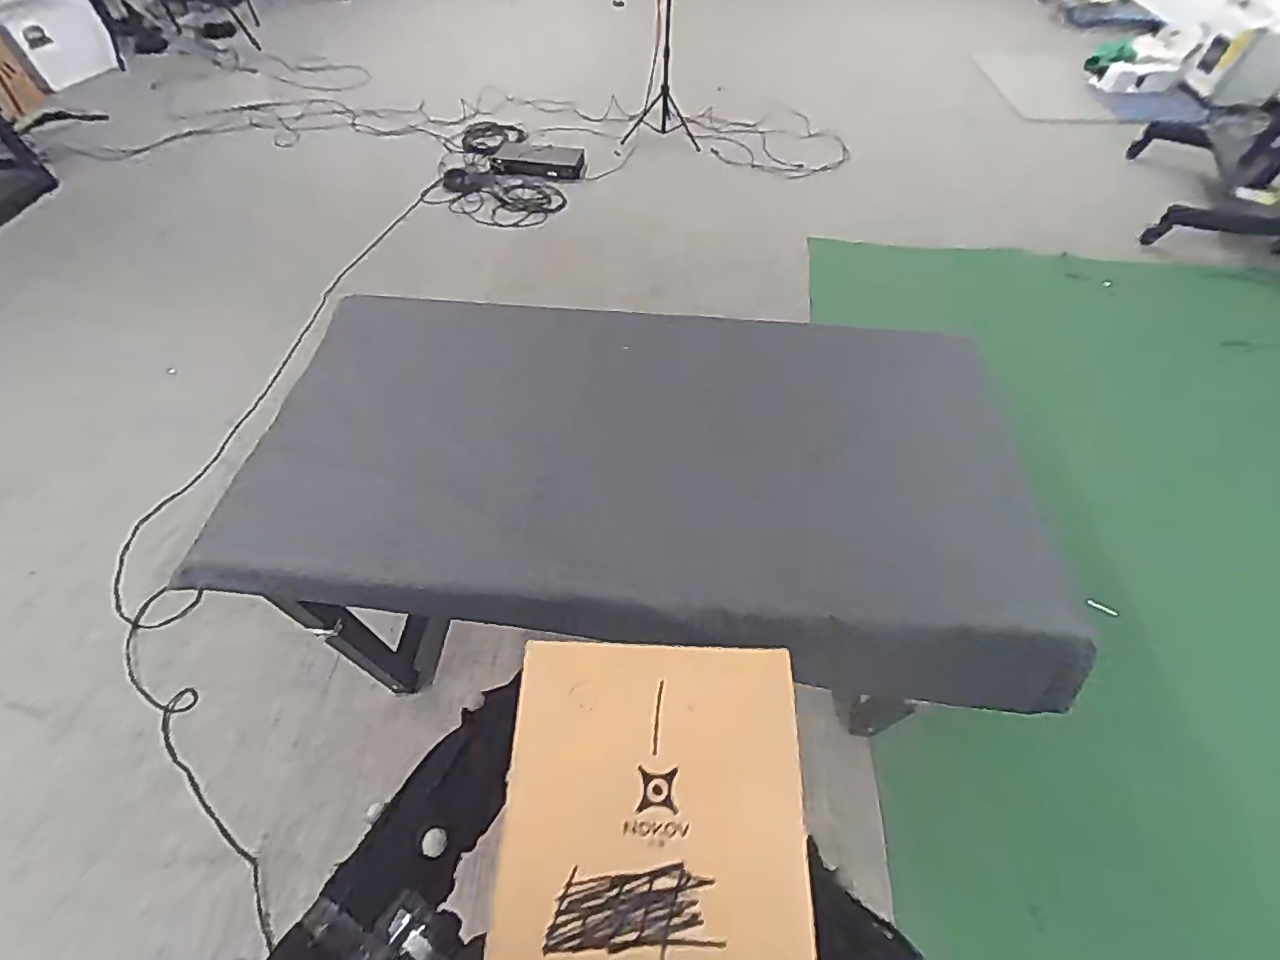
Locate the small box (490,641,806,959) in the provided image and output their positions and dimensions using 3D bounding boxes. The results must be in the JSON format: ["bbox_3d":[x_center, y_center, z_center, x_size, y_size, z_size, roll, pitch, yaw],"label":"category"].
[{"bbox_3d":[0.009,0.222,0.380,0.168,0.176,0.179,3,62,1],"label":"small box"}]
